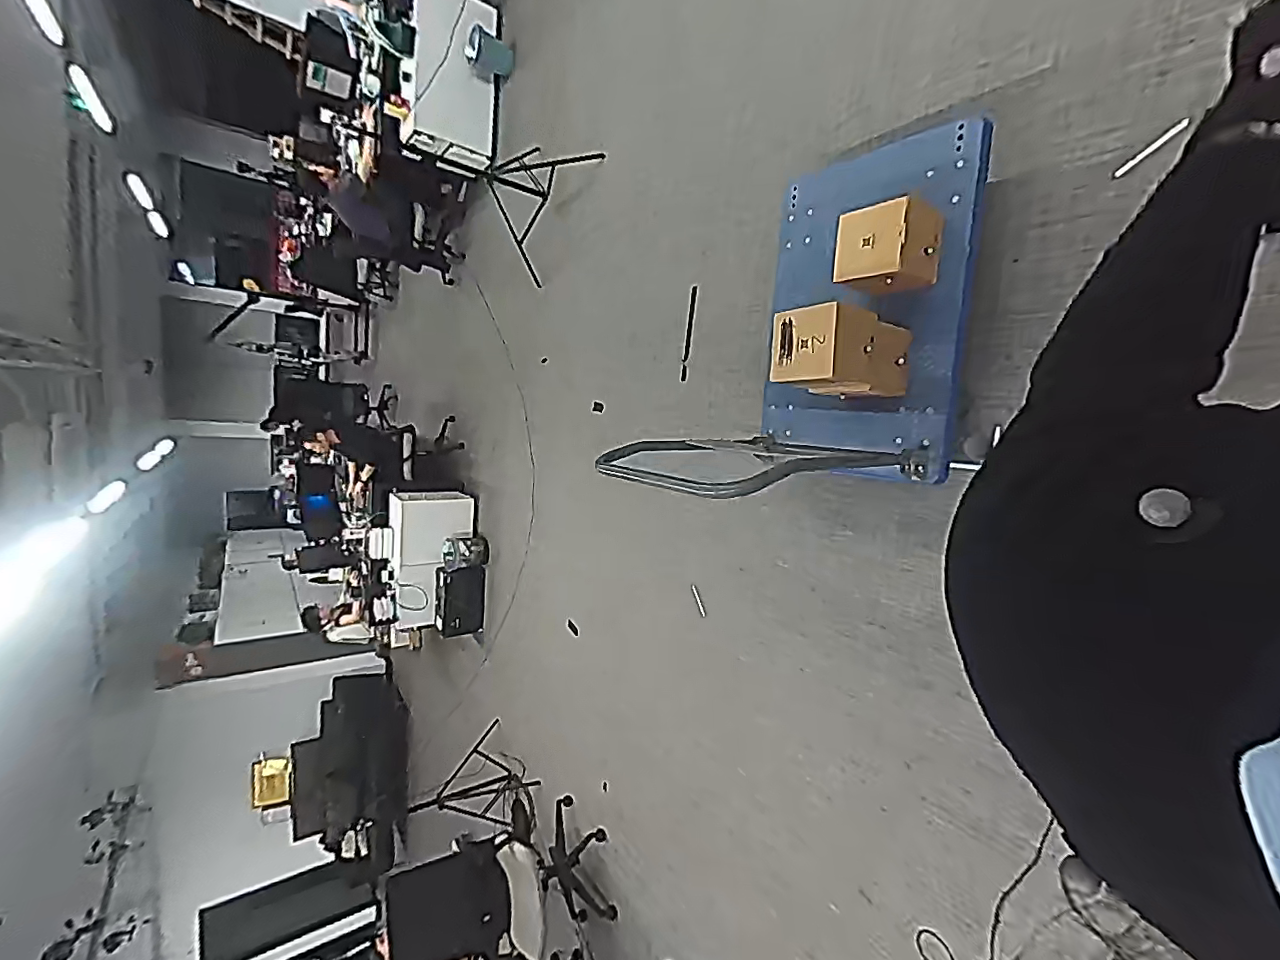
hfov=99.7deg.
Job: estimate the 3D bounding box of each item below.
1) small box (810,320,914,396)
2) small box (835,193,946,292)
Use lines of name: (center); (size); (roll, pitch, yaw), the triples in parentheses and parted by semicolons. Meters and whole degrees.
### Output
small box: (0.566, -0.305, 1.383); (0.179, 0.176, 0.168); (11, 100, 53)
small box: (0.610, -0.568, 1.322); (0.179, 0.176, 0.168); (13, 101, 53)
